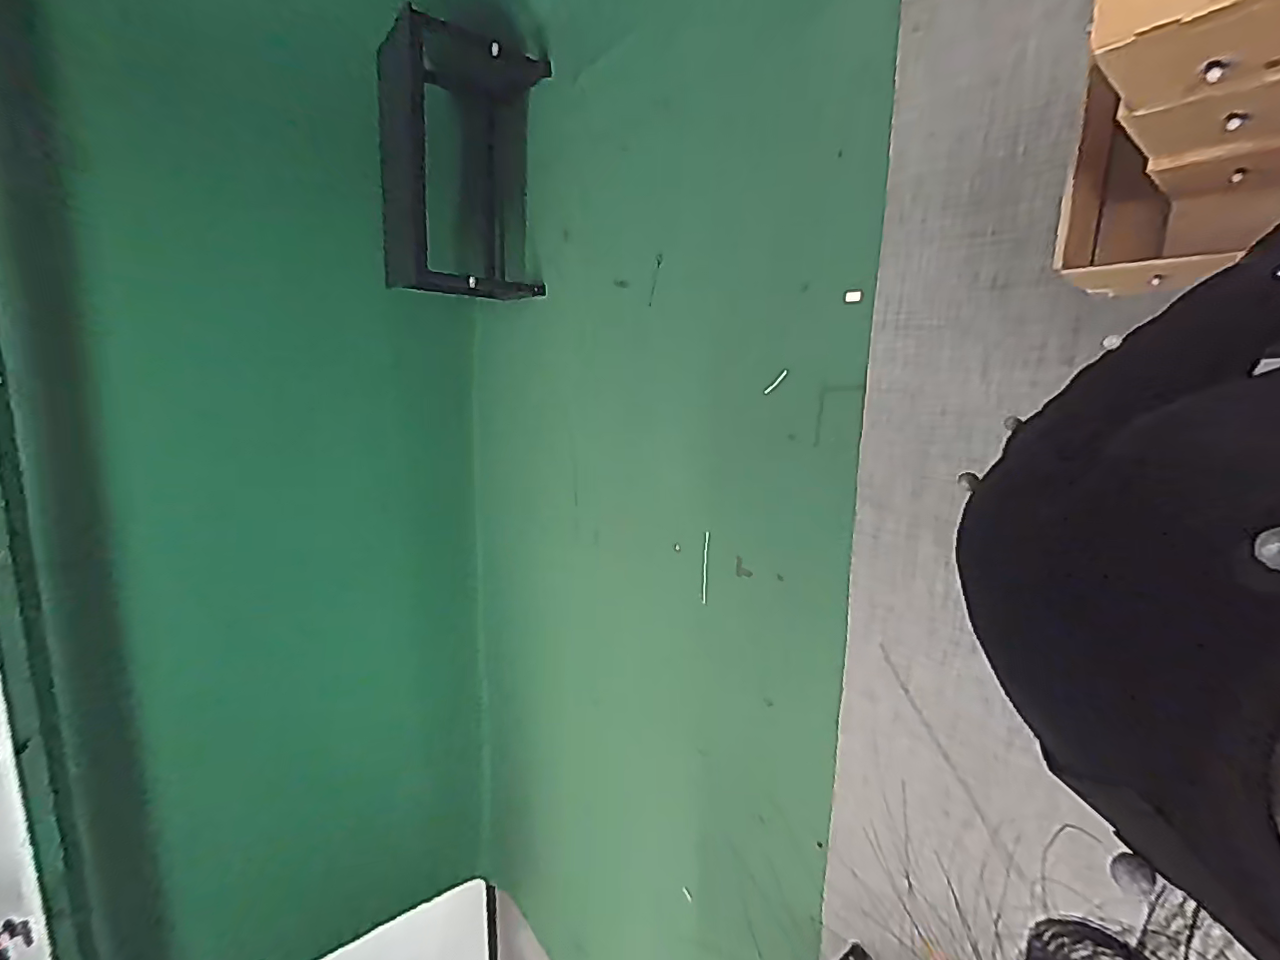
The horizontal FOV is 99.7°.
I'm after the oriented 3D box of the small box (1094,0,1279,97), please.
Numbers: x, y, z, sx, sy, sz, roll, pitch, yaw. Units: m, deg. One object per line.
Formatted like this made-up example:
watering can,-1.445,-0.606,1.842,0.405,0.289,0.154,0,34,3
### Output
small box,0.524,-0.476,0.460,0.168,0.176,0.179,12,105,52
